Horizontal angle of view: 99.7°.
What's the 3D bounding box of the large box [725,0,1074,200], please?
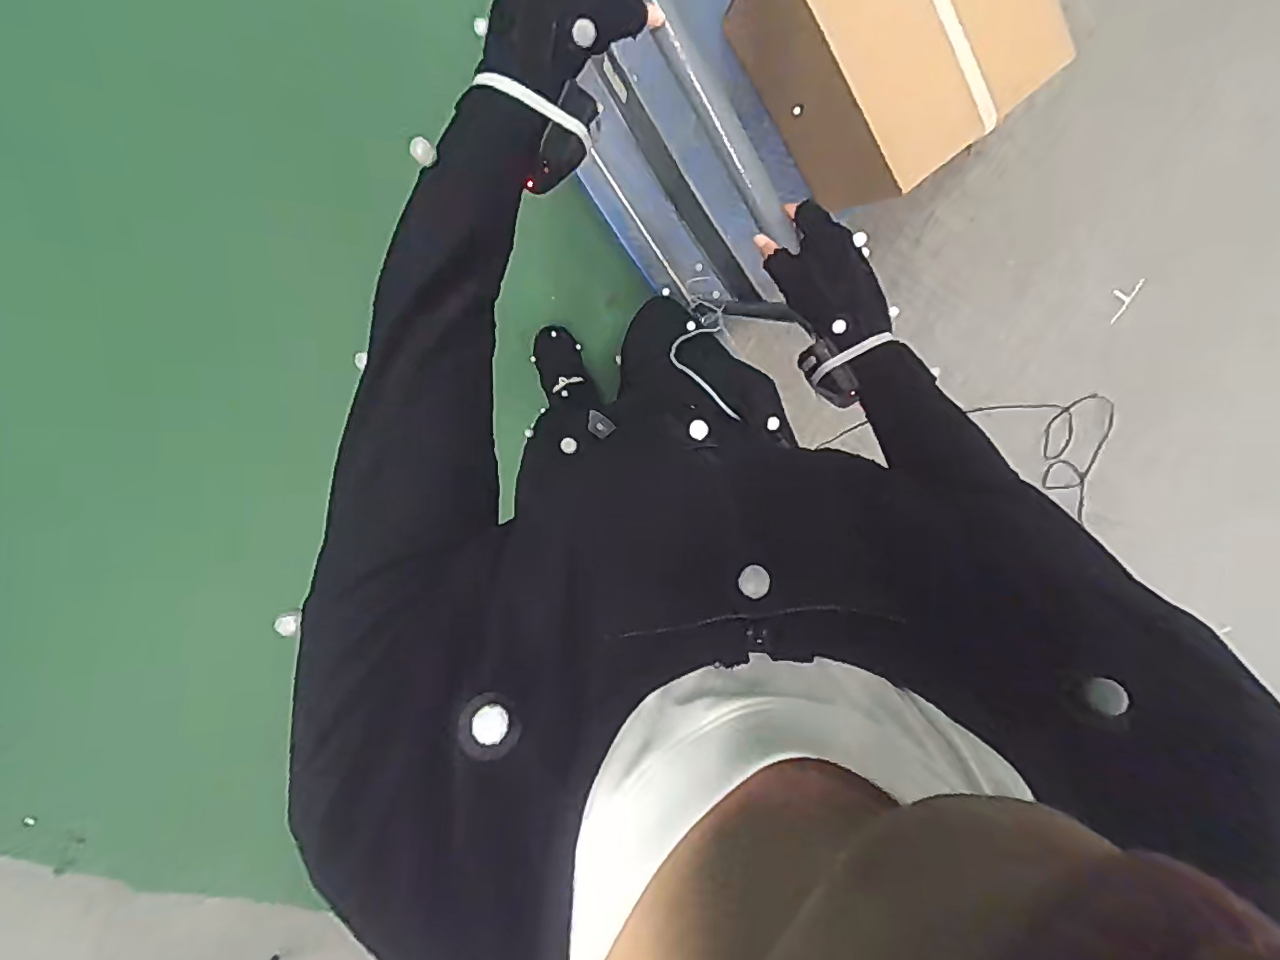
[{"bbox_3d":[0.407,-0.764,0.918,0.320,0.320,0.408,-38,110,9],"label":"large box"}]
